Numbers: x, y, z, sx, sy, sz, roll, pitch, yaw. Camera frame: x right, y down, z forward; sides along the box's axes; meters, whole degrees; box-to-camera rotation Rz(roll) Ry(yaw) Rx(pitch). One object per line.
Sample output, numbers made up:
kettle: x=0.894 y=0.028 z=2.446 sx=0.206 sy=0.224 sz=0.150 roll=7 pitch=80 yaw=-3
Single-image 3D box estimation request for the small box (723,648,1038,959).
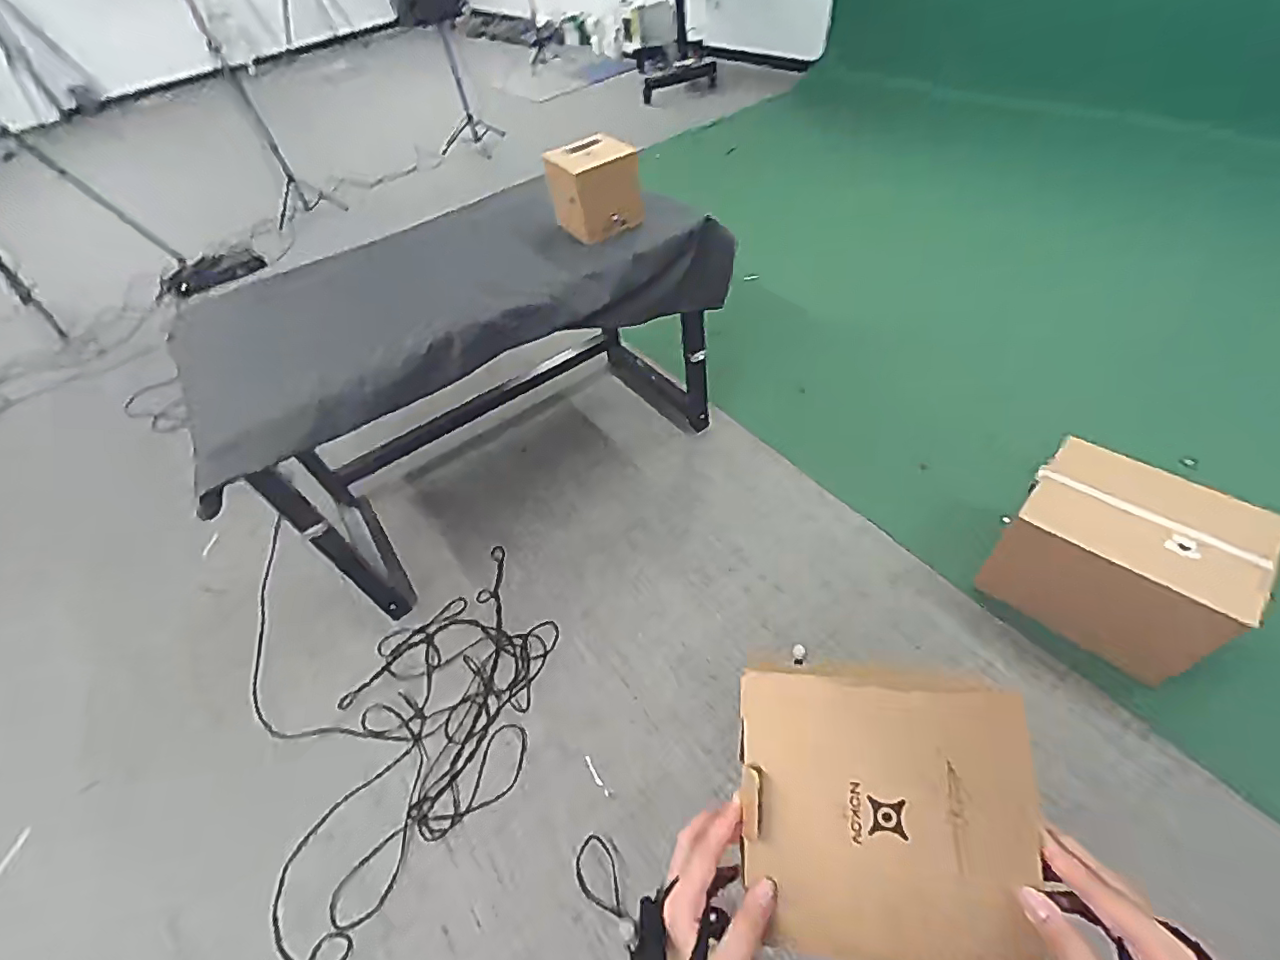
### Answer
small box: x=0.158 y=0.222 z=0.412 sx=0.179 sy=0.176 sz=0.168 roll=-1 pitch=77 yaw=12
